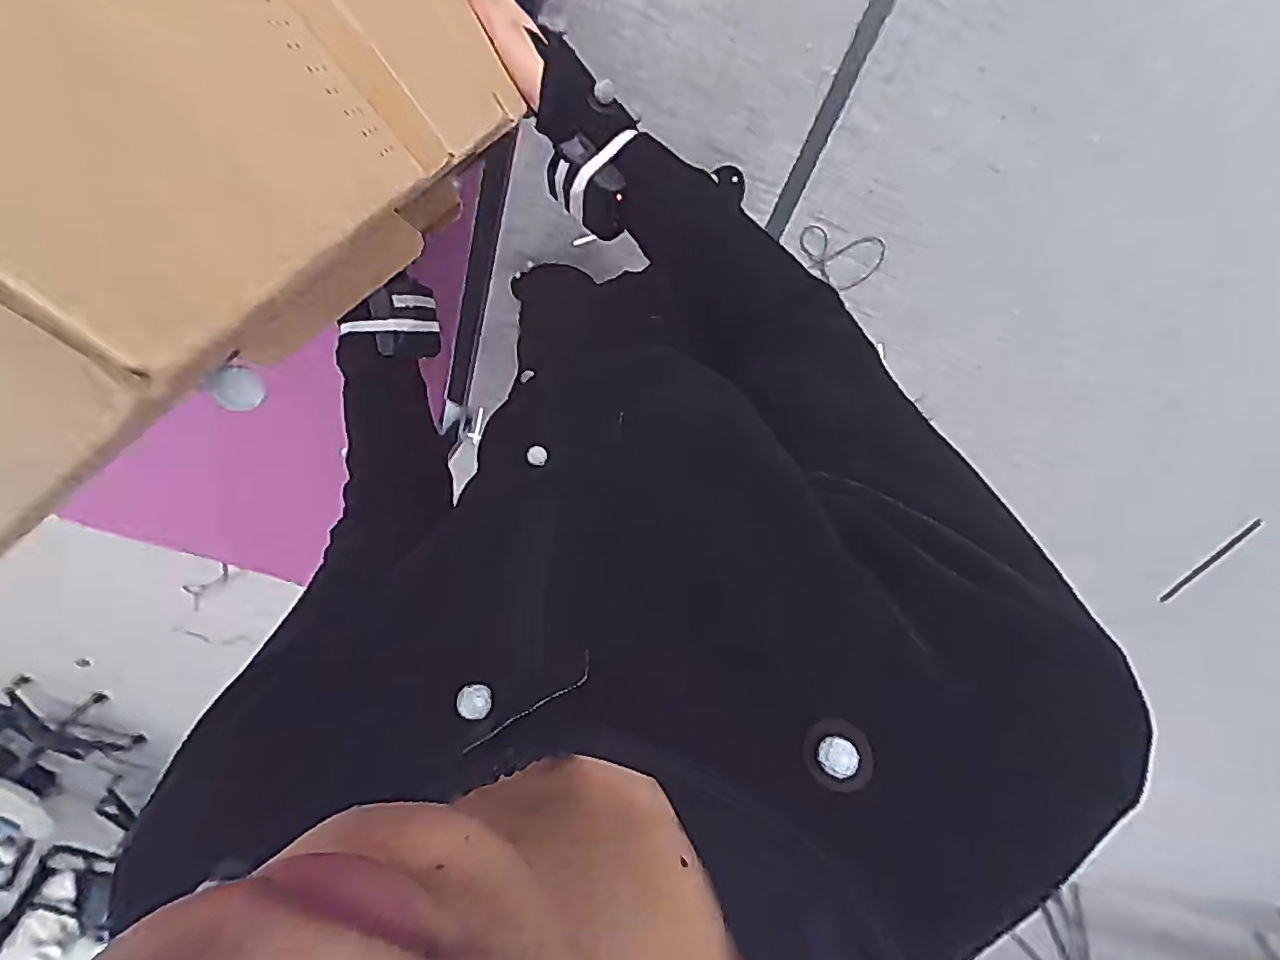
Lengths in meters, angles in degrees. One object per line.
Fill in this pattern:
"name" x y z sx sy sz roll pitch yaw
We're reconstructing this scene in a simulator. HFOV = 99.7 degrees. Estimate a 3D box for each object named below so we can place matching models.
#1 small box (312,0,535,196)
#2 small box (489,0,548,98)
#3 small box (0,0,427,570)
"small box" -0.186 -0.286 0.351 0.168 0.176 0.179 -26 127 14
"small box" -0.195 -0.392 0.477 0.168 0.176 0.179 -29 126 16
"small box" -0.173 -0.074 0.099 0.168 0.176 0.179 -30 126 16
